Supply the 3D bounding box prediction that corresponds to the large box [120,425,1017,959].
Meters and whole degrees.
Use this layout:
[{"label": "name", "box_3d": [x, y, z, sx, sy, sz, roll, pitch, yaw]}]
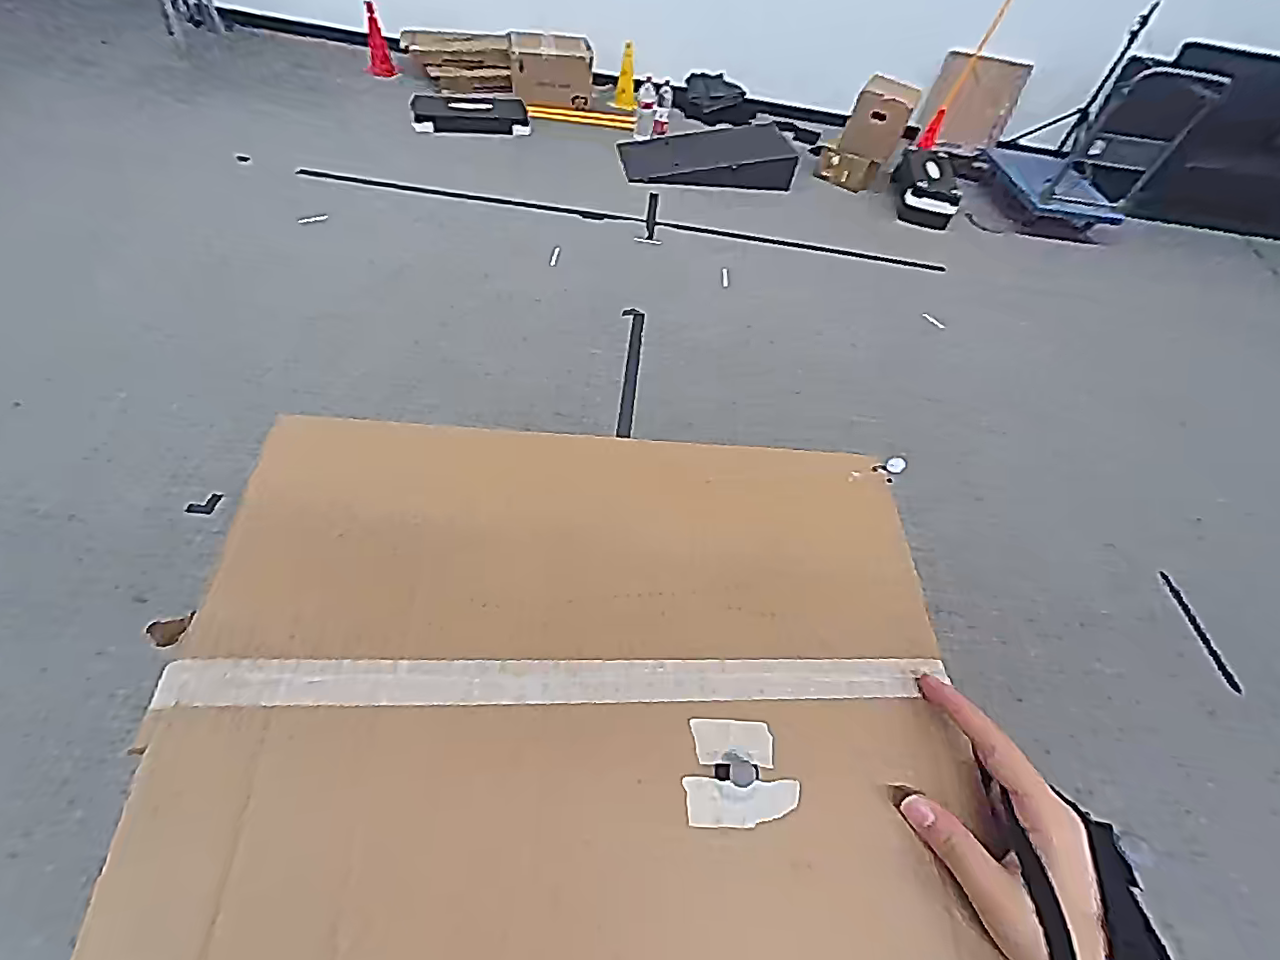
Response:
[{"label": "large box", "box_3d": [-0.041, 0.182, 0.426, 0.408, 0.320, 0.320, 4, 60, -10]}]
